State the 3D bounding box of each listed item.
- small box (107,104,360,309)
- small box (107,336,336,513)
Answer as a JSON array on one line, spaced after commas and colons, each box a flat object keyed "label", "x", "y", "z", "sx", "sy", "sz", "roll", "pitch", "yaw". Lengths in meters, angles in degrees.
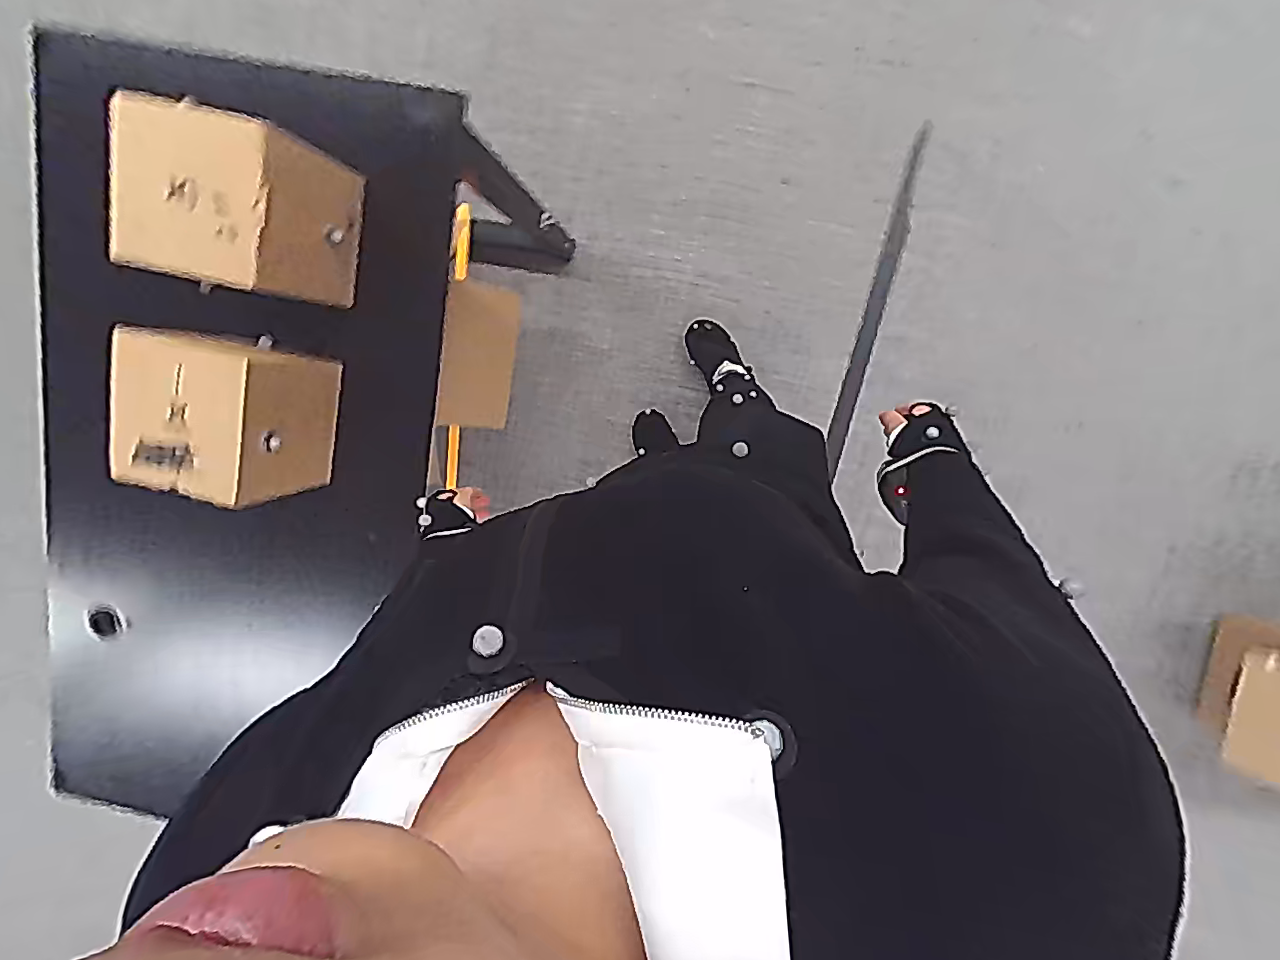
[{"label": "small box", "x": -0.476, "y": -0.310, "z": 0.651, "sx": 0.179, "sy": 0.176, "sz": 0.168, "roll": 13, "pitch": 103, "yaw": 4}, {"label": "small box", "x": -0.526, "y": -0.075, "z": 0.700, "sx": 0.168, "sy": 0.176, "sz": 0.179, "roll": 13, "pitch": 101, "yaw": 3}]
